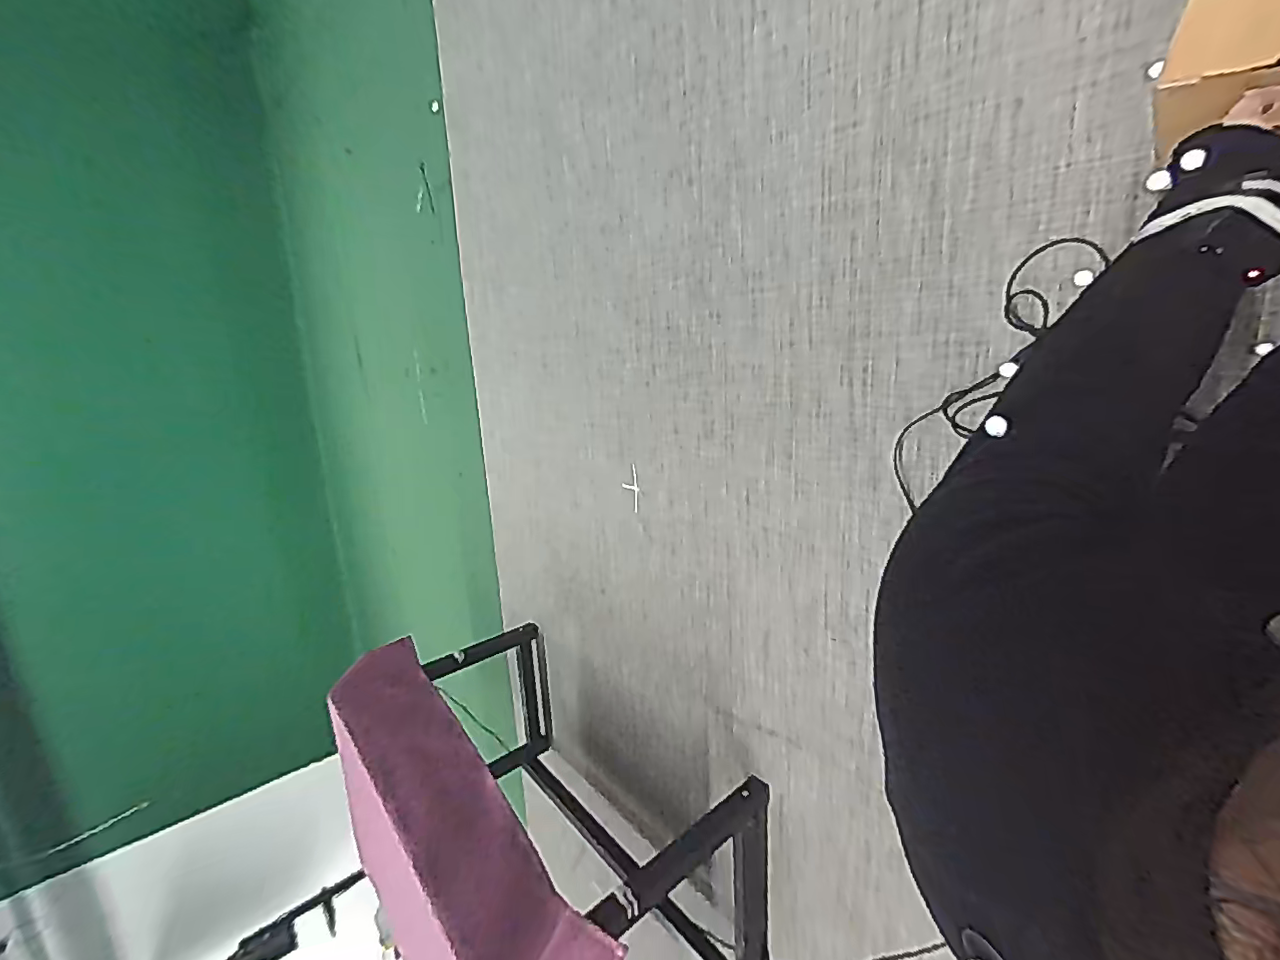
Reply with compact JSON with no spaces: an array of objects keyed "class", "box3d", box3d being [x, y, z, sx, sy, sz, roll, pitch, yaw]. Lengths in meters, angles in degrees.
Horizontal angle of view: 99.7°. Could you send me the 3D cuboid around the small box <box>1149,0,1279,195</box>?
[{"class":"small box","box3d":[0.604,-0.393,0.492,0.168,0.176,0.179,24,99,46]}]
